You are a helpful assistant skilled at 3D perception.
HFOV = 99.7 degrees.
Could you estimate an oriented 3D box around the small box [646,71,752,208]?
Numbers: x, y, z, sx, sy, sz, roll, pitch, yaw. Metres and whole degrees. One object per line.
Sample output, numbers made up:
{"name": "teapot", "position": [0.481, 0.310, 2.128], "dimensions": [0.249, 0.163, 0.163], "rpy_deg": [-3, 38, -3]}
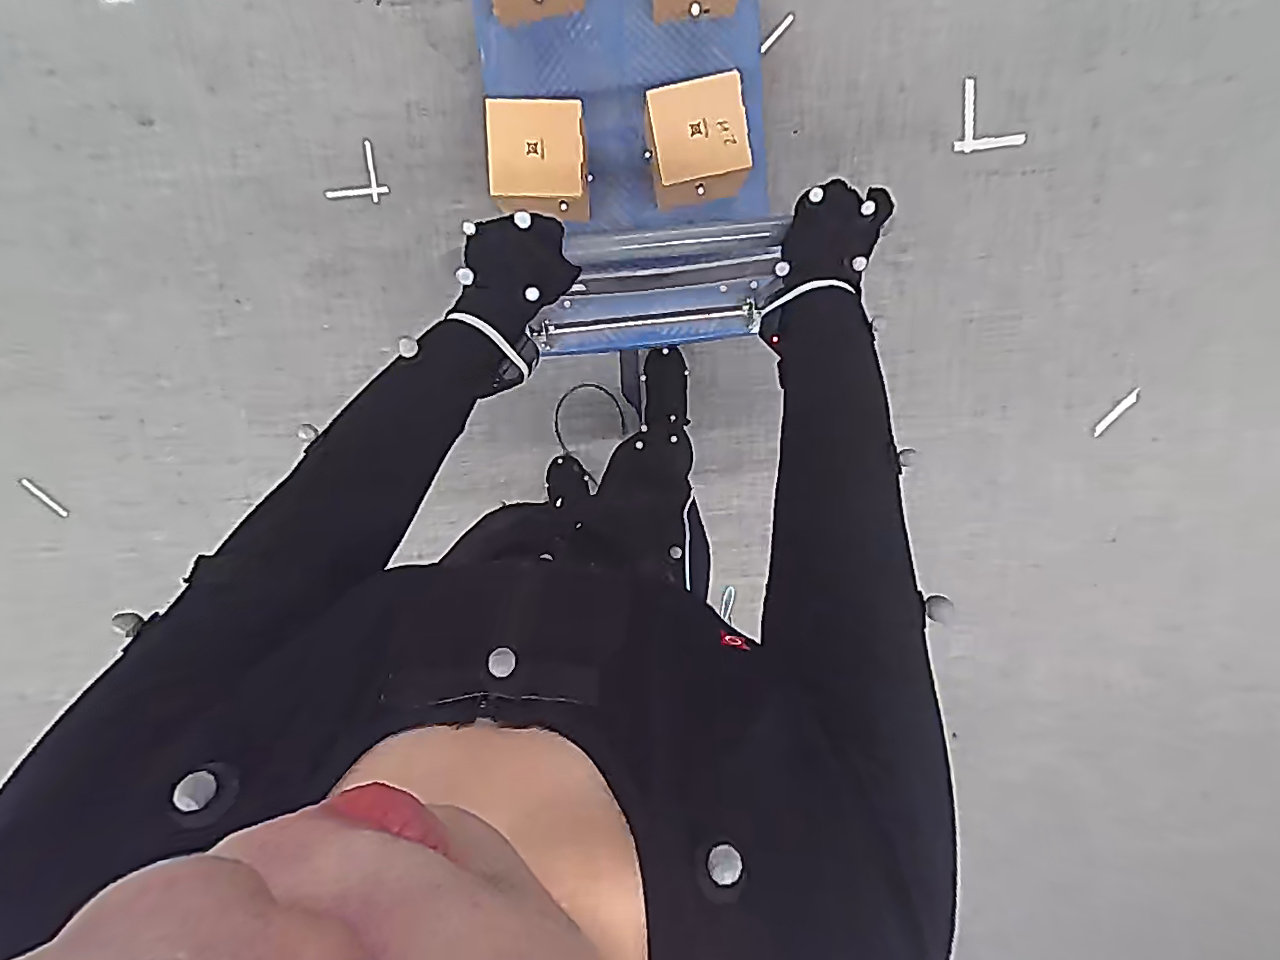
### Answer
{"name": "small box", "position": [0.112, -0.666, 1.081], "dimensions": [0.179, 0.176, 0.168], "rpy_deg": [-11, 101, 2]}

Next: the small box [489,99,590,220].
{"name": "small box", "position": [-0.193, -0.632, 1.085], "dimensions": [0.179, 0.176, 0.168], "rpy_deg": [-1, 101, -2]}

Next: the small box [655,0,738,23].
{"name": "small box", "position": [0.107, -1.012, 1.012], "dimensions": [0.168, 0.176, 0.179], "rpy_deg": [-6, 102, 1]}
